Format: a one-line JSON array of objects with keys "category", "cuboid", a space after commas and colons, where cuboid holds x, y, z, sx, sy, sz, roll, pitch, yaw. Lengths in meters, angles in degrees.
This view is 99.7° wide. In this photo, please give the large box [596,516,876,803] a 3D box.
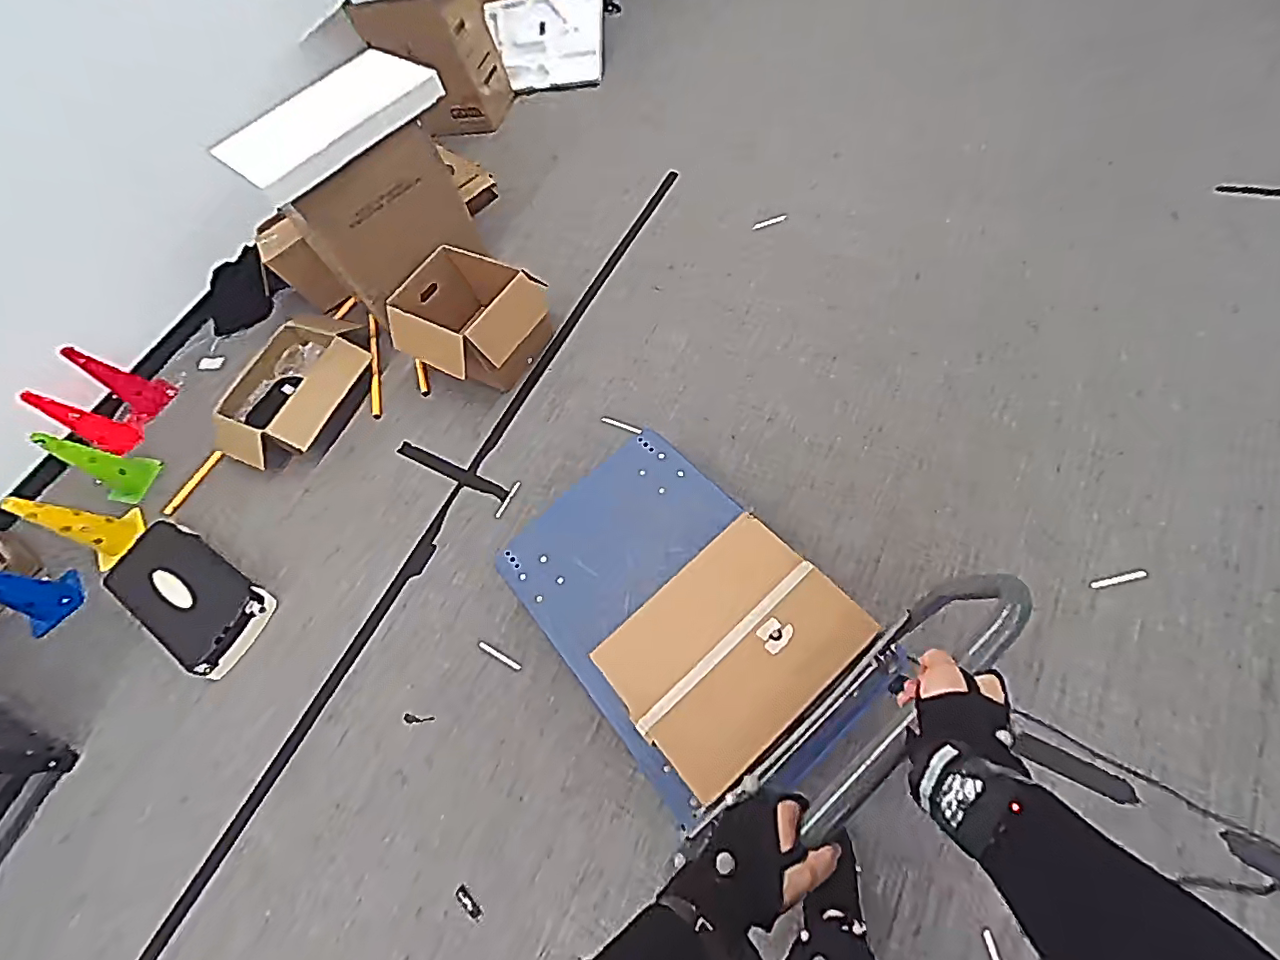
[{"category": "large box", "cuboid": [0.189, 0.357, 1.070, 0.408, 0.320, 0.320, -41, 61, -10]}]
